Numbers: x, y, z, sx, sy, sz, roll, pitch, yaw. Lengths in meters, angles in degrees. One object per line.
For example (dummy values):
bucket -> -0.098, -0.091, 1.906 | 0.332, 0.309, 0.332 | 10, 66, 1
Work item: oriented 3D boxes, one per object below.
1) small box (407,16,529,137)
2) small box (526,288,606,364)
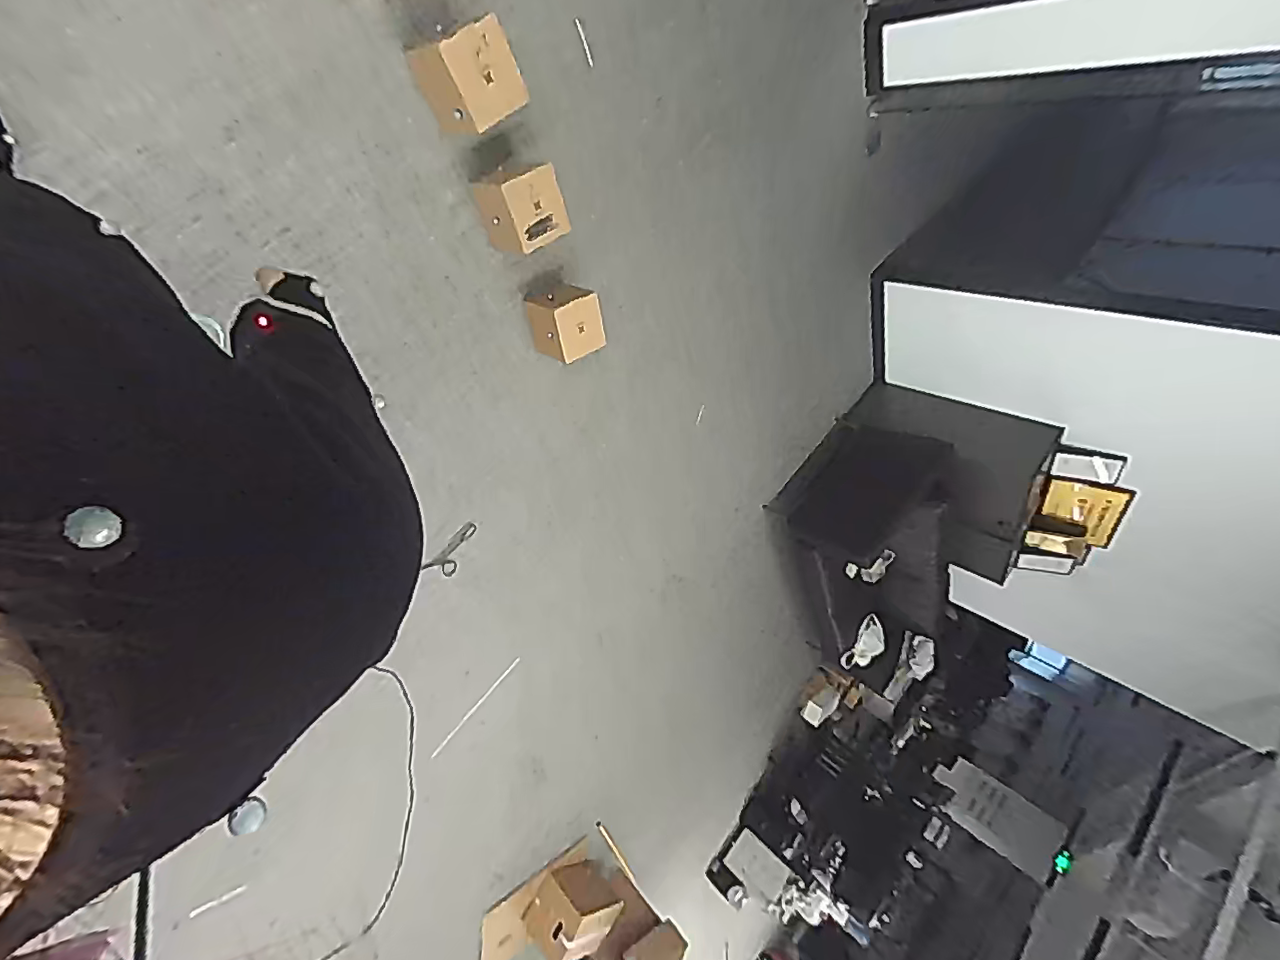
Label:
small box -> -0.398, -0.926, 1.253 | 0.168, 0.176, 0.179 | -47, 139, -18
small box -> -0.233, -0.489, 1.691 | 0.168, 0.176, 0.179 | -34, 134, -29
